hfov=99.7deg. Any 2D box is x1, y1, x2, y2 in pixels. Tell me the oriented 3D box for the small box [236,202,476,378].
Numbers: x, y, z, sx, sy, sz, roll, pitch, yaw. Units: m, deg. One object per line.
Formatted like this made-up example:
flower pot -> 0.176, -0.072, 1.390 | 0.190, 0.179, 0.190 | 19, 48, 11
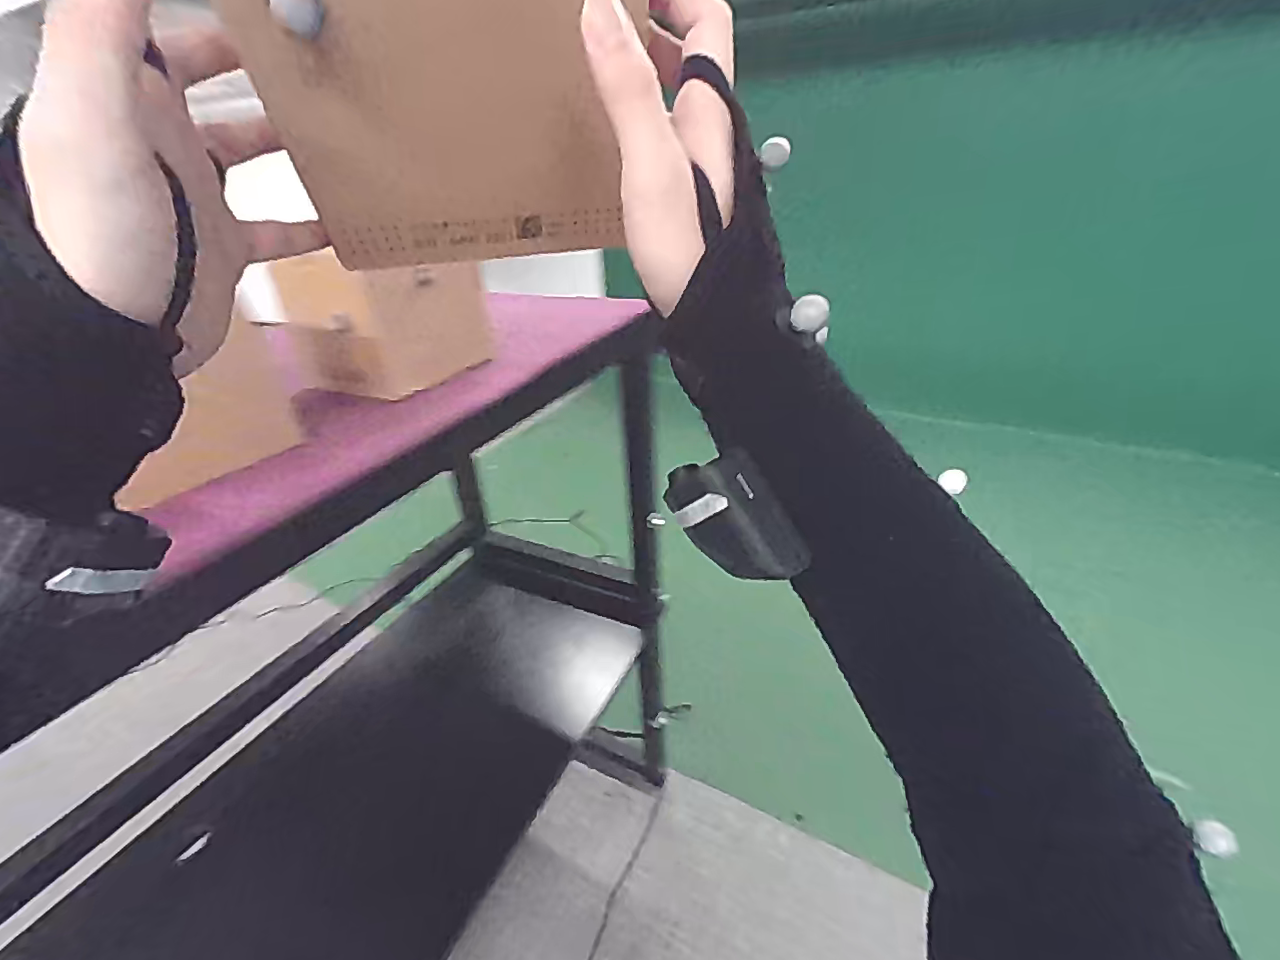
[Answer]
small box -> -0.325, -0.234, 0.655 | 0.168, 0.176, 0.179 | 14, 35, 25
